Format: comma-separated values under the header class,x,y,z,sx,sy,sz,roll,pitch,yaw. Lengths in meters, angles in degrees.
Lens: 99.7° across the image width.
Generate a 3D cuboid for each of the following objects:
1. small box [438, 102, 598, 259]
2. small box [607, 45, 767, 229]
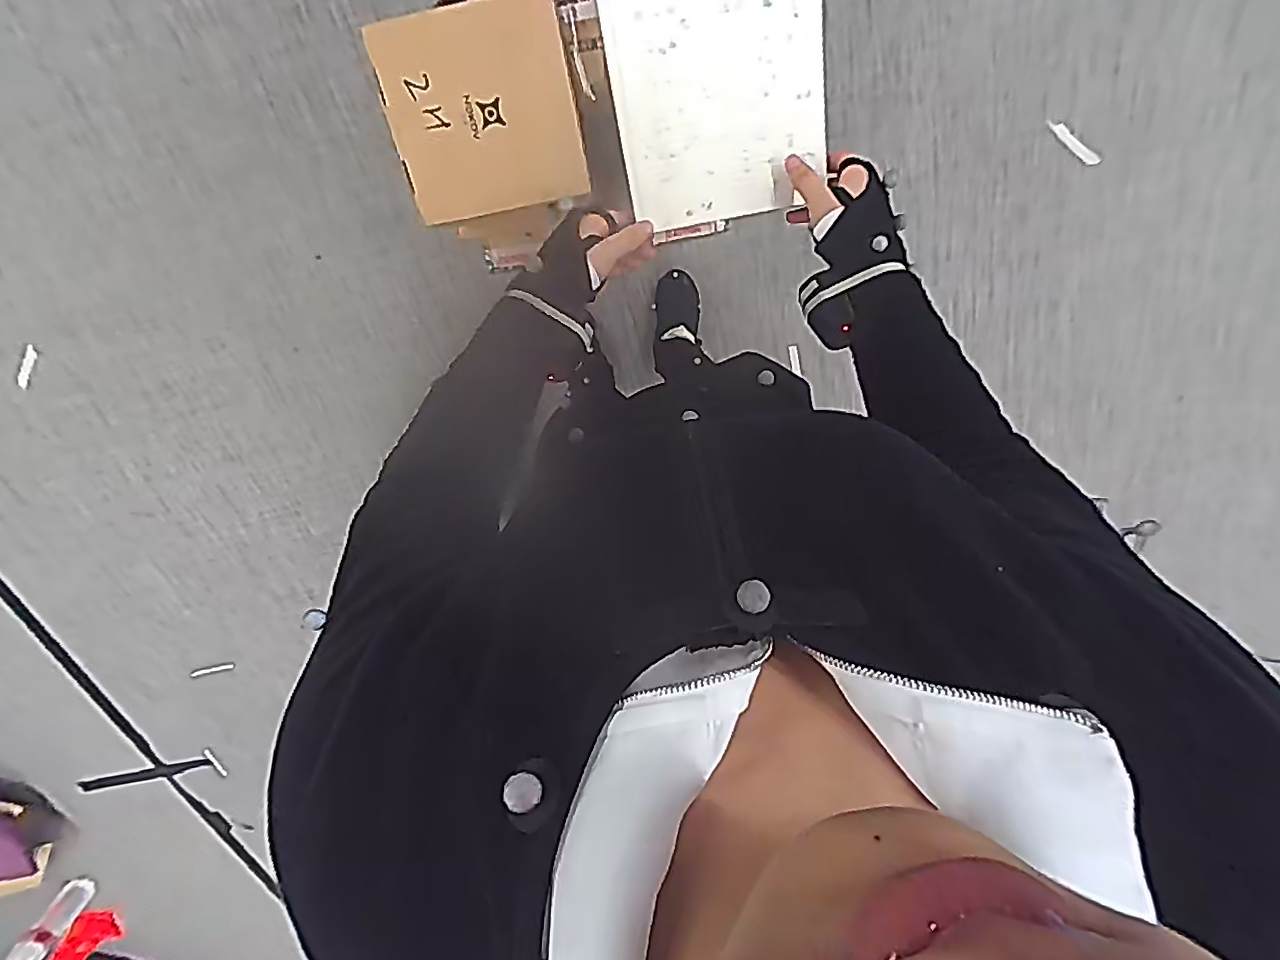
class,x,y,z,sx,sy,sz,roll,pitch,yaw
small box,-0.154,-0.412,0.757,0.179,0.176,0.168,-6,116,2
small box,0.058,-0.458,0.746,0.179,0.176,0.168,-15,115,3
